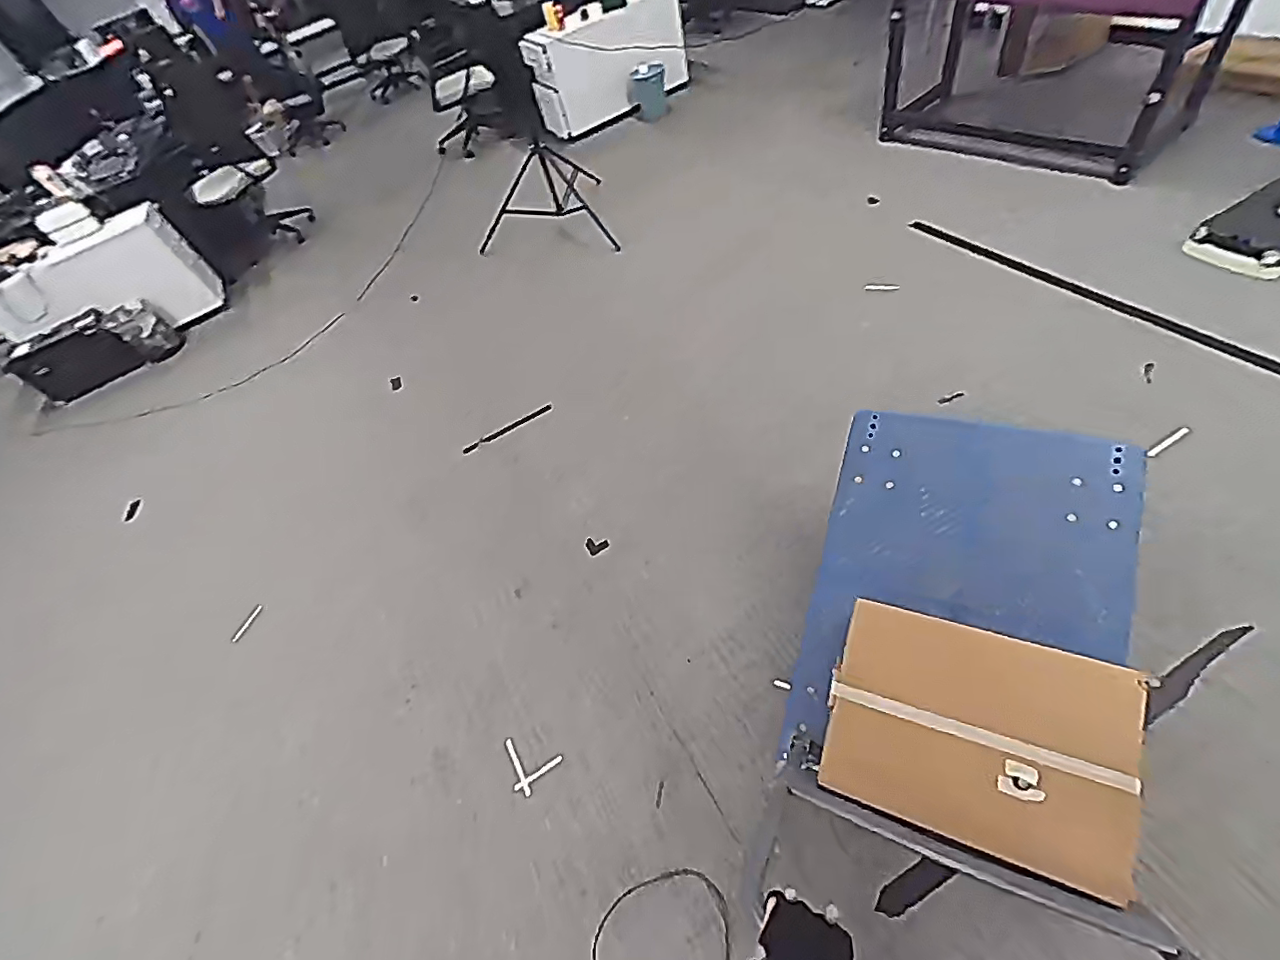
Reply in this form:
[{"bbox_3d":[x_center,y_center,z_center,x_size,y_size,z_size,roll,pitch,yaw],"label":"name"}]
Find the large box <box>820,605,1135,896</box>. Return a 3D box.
[{"bbox_3d":[0.562,0.441,0.979,0.408,0.320,0.320,12,77,23],"label":"large box"}]
